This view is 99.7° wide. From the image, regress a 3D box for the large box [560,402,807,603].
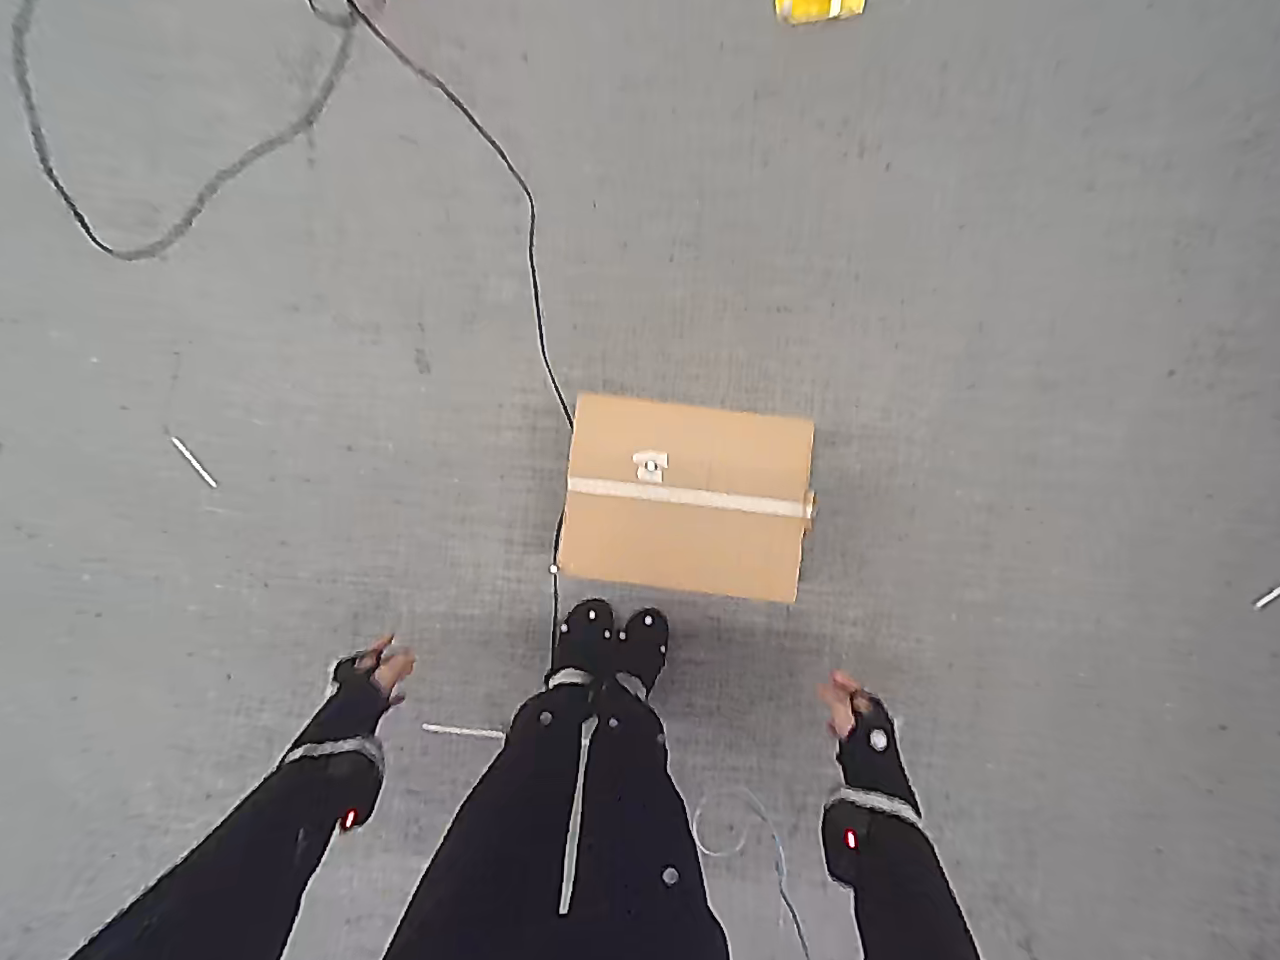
[{"bbox_3d":[0.080,0.040,1.071,0.408,0.320,0.320,7,88,1],"label":"large box"}]
